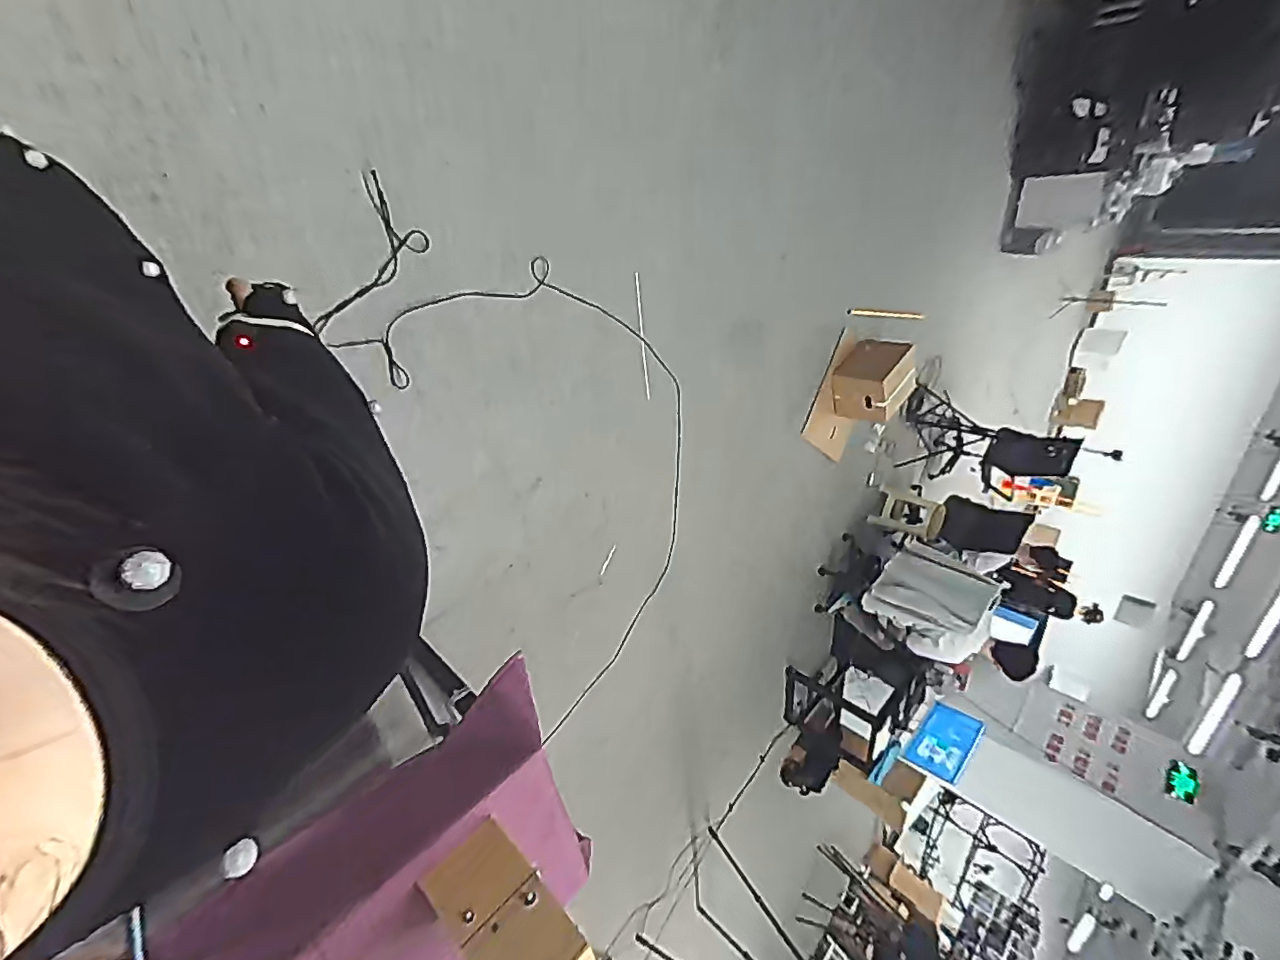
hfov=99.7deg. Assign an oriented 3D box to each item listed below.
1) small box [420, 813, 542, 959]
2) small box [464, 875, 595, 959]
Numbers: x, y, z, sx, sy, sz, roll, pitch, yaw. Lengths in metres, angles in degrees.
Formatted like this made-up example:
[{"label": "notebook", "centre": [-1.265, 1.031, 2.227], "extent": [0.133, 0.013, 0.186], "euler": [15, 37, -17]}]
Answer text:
[{"label": "small box", "centre": [-0.315, 0.834, 1.105], "extent": [0.179, 0.176, 0.168], "euler": [-31, 128, -34]}, {"label": "small box", "centre": [-0.199, 0.884, 0.999], "extent": [0.168, 0.176, 0.179], "euler": [-31, 130, -34]}]
